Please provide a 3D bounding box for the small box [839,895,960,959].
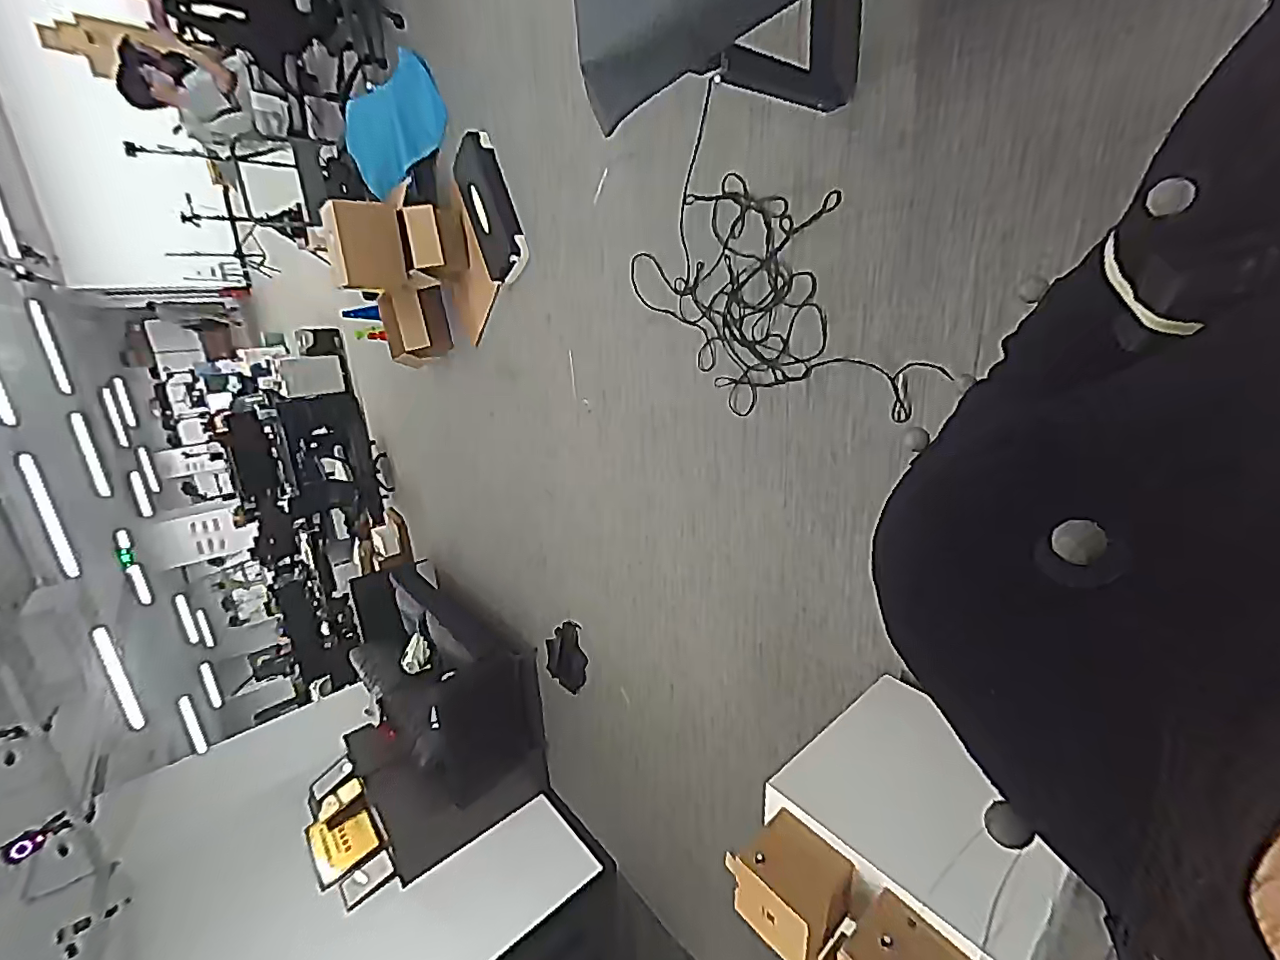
[{"bbox_3d":[0.459,0.898,0.954,0.168,0.176,0.179,26,124,47],"label":"small box"}]
